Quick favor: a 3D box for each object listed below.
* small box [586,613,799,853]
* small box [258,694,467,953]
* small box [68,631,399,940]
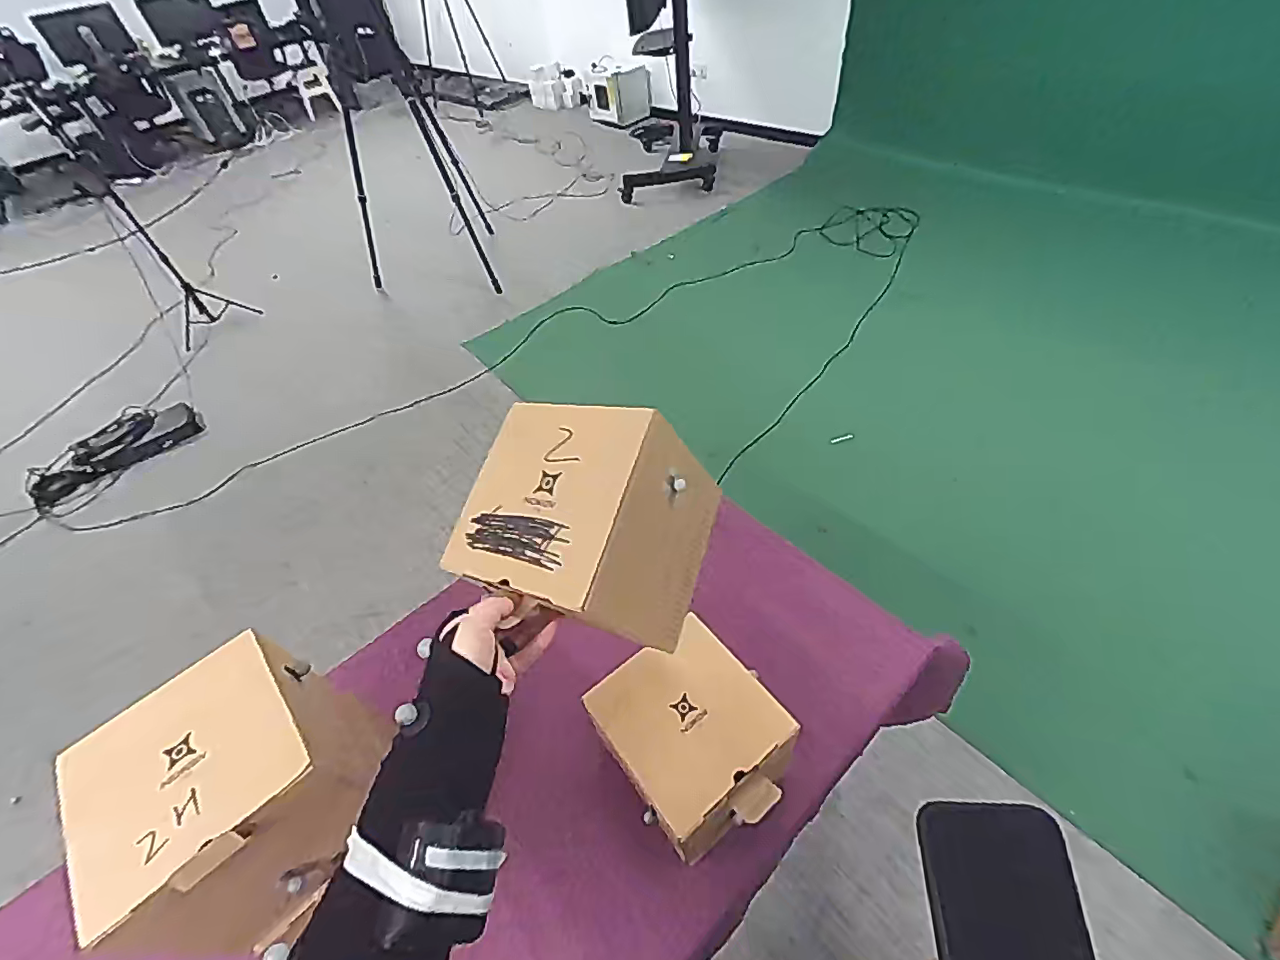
[{"bbox_3d":[0.060,0.301,0.642,0.168,0.176,0.179,-33,52,-19],"label":"small box"},{"bbox_3d":[-0.330,0.393,0.627,0.168,0.176,0.179,-37,53,-23],"label":"small box"},{"bbox_3d":[-0.365,0.285,0.506,0.168,0.176,0.179,-38,54,-23],"label":"small box"}]
